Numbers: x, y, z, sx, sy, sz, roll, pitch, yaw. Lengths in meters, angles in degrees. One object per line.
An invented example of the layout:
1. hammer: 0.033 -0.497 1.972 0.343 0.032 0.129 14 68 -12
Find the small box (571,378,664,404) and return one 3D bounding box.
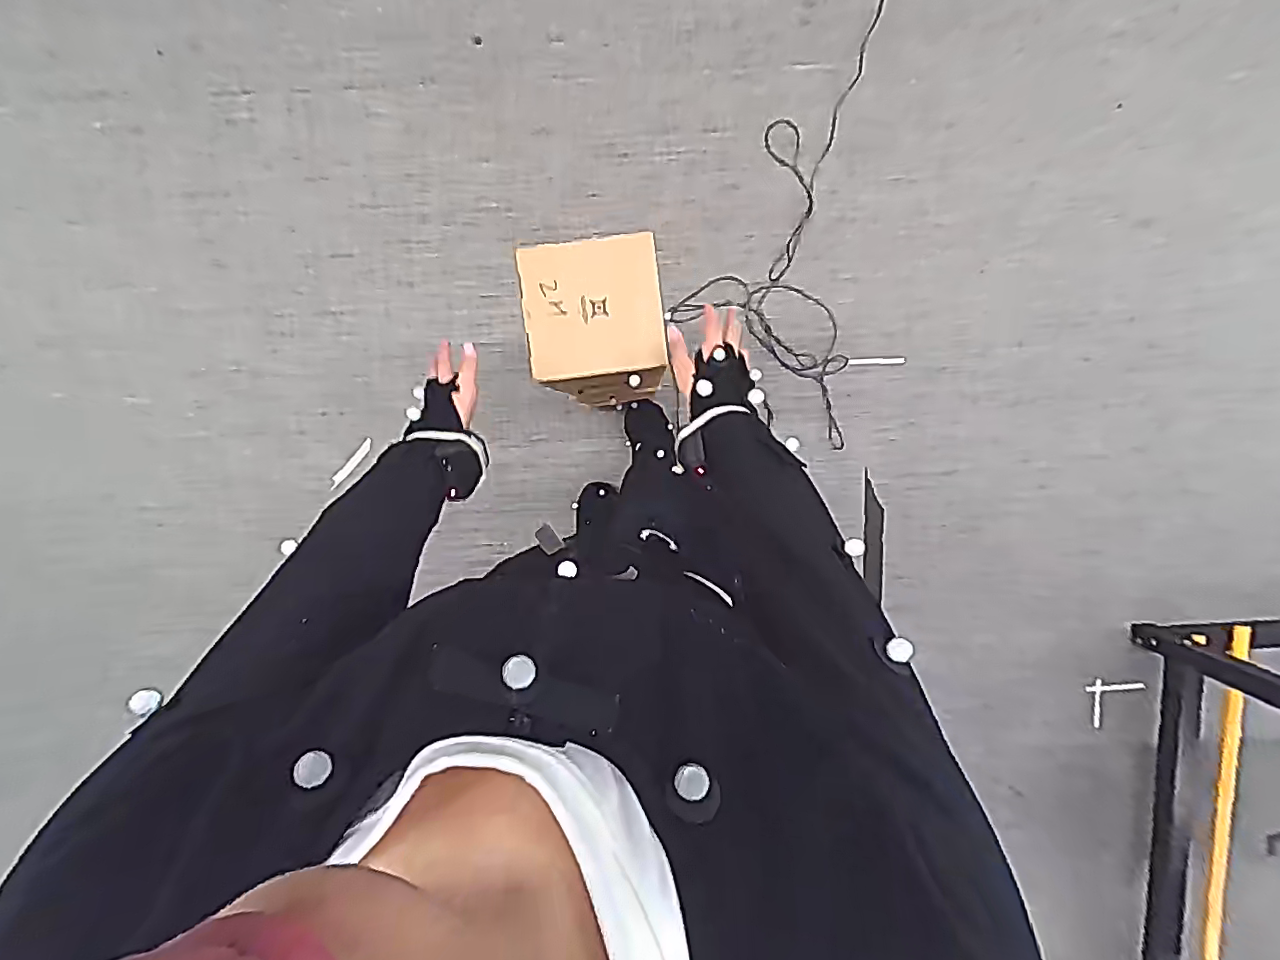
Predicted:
1. small box: -0.050 -0.243 1.084 0.179 0.176 0.168 -6 97 2

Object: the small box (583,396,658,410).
1. small box: -0.053 -0.260 1.245 0.168 0.176 0.179 -8 97 2

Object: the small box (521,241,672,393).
1. small box: -0.054 -0.216 0.755 0.179 0.176 0.168 -6 95 2
